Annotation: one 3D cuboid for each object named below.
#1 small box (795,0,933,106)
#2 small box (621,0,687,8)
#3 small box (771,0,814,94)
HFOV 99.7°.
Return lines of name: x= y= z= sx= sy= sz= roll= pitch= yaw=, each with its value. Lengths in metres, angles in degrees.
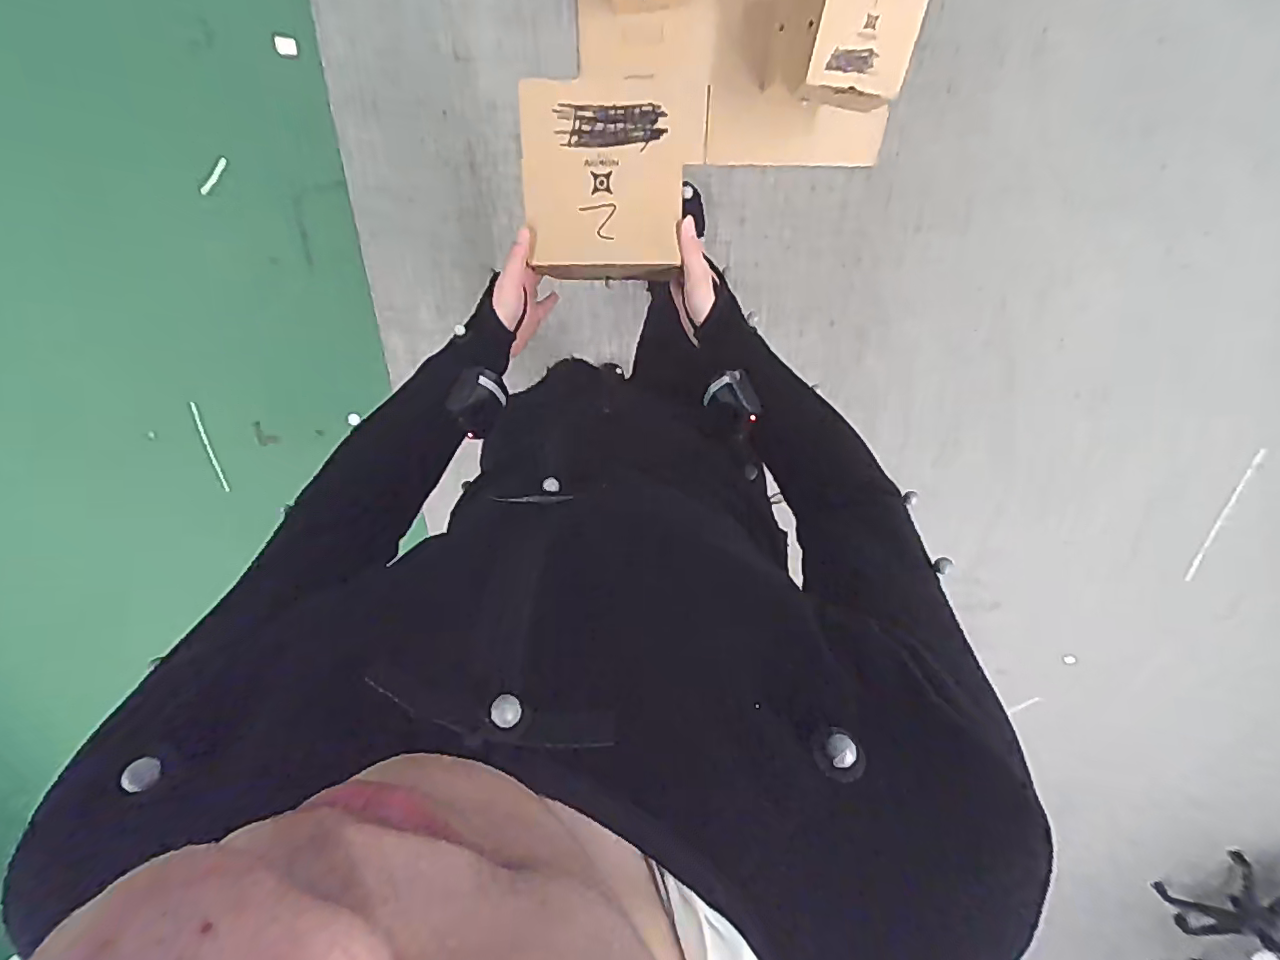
small box: x=0.384 y=-0.780 z=0.948 sx=0.168 sy=0.176 sz=0.179 roll=10 pitch=117 yaw=-2
small box: x=0.027 y=-1.036 z=1.021 sx=0.168 sy=0.176 sz=0.179 roll=-4 pitch=118 yaw=6
small box: x=0.366 y=-0.884 z=1.079 sx=0.168 sy=0.176 sz=0.179 roll=7 pitch=119 yaw=1
